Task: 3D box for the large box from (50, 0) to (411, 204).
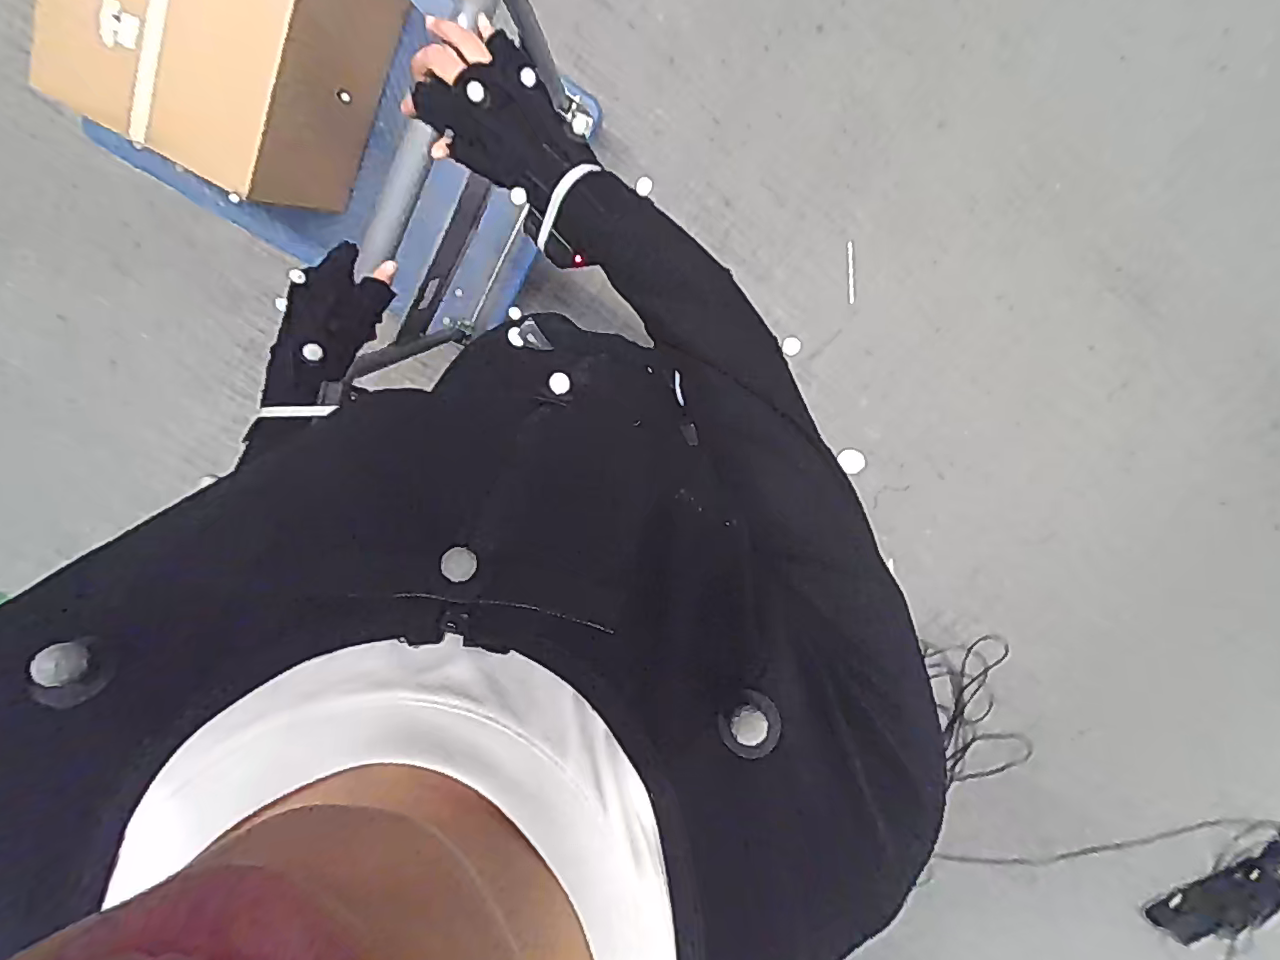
[{"bbox_3d":[-0.630,-0.732,0.881,0.320,0.320,0.408,27,110,-11],"label":"large box"}]
